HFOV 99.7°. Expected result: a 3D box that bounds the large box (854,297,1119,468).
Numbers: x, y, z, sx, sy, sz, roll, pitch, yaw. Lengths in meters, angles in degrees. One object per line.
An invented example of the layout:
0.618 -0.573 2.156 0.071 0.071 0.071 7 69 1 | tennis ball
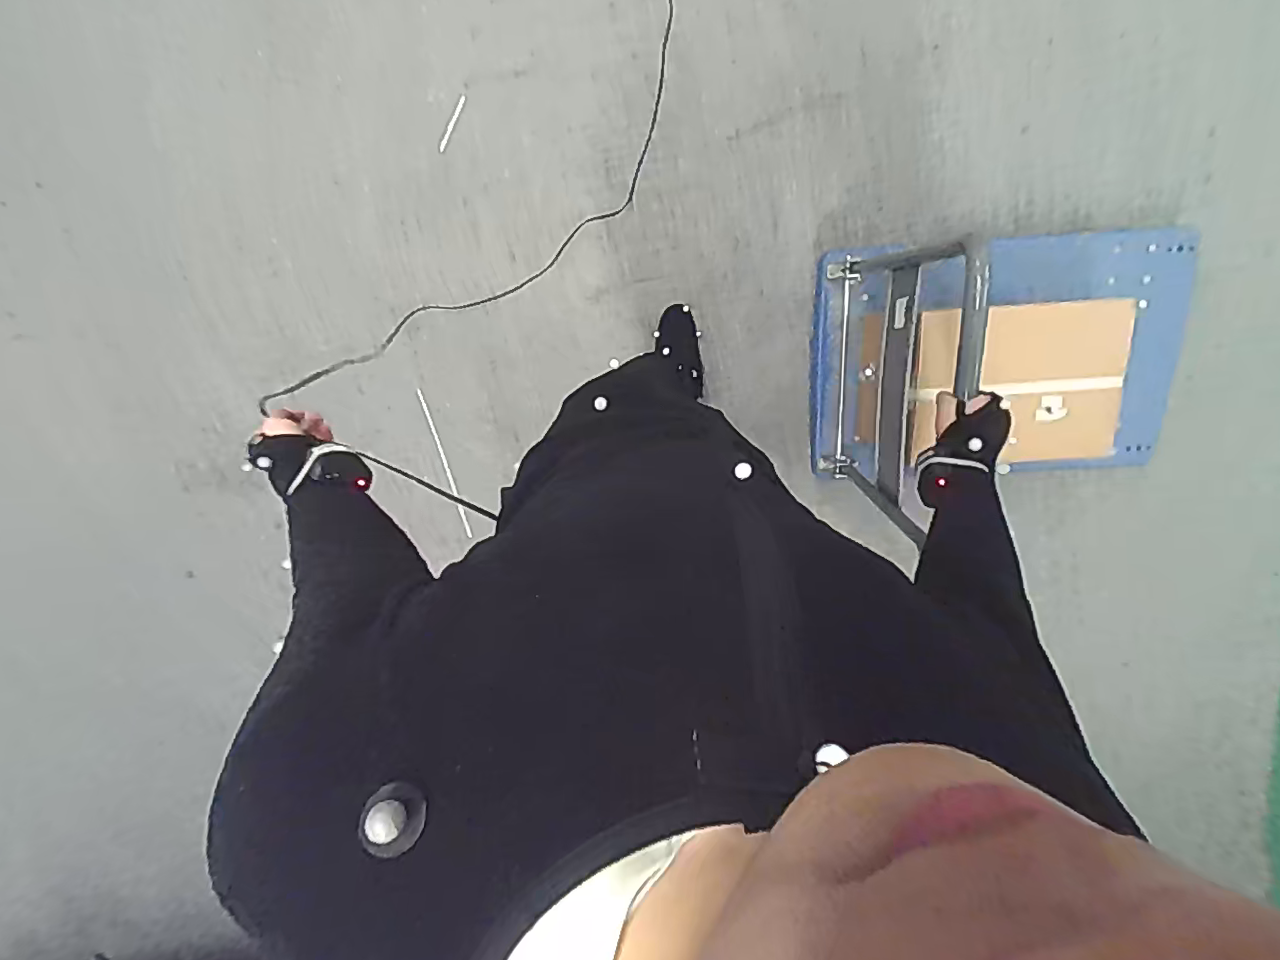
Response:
0.737 -0.226 1.225 0.408 0.320 0.320 -4 106 2 | large box
